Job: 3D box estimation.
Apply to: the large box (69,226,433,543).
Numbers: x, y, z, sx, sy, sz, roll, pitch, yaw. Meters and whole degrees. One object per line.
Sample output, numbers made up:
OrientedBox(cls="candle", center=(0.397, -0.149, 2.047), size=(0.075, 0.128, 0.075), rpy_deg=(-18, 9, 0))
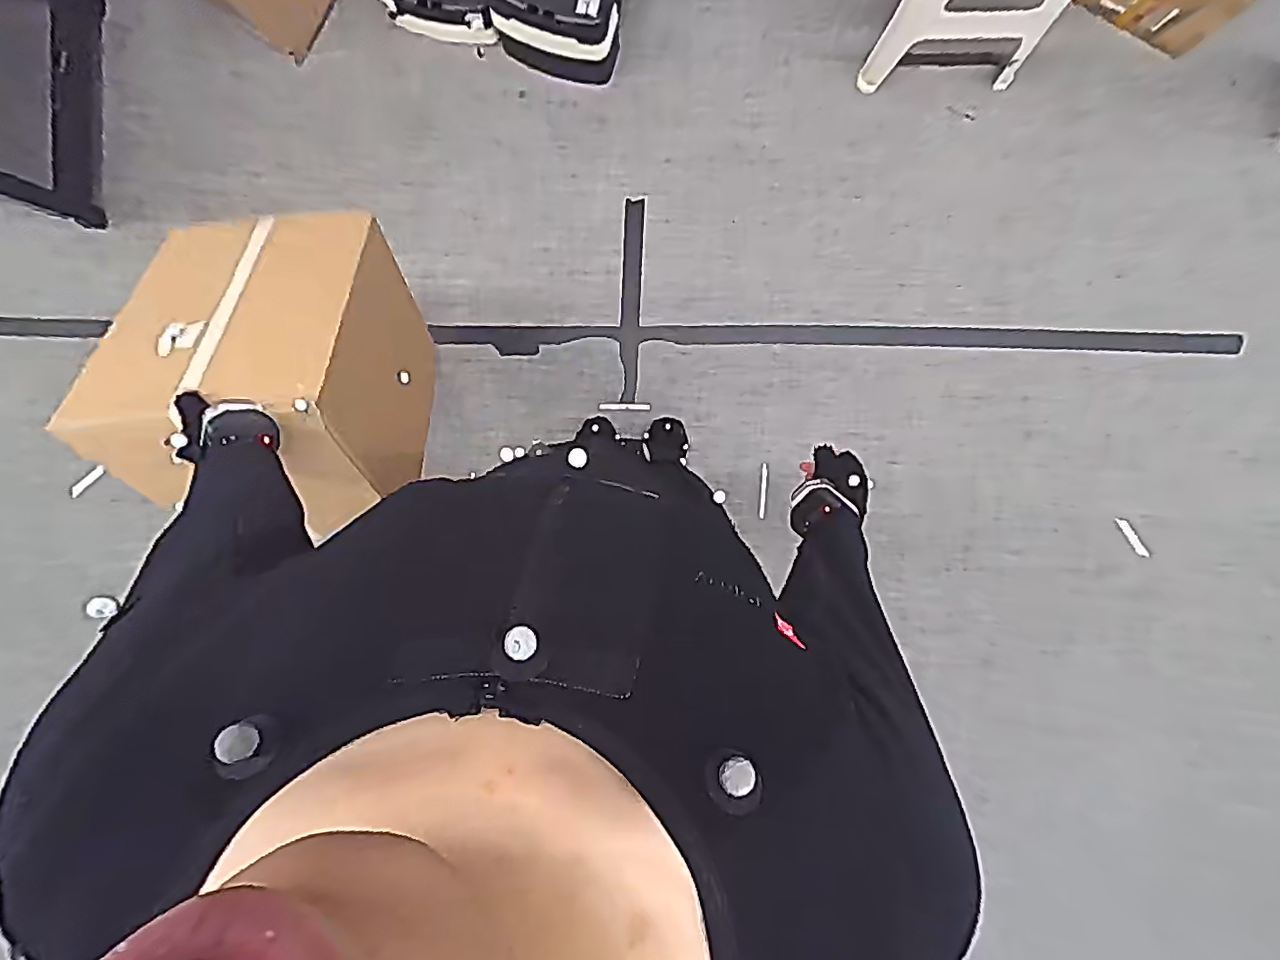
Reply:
OrientedBox(cls="large box", center=(-0.555, -0.152, 0.883), size=(0.320, 0.320, 0.408), rpy_deg=(-6, 57, -2))
